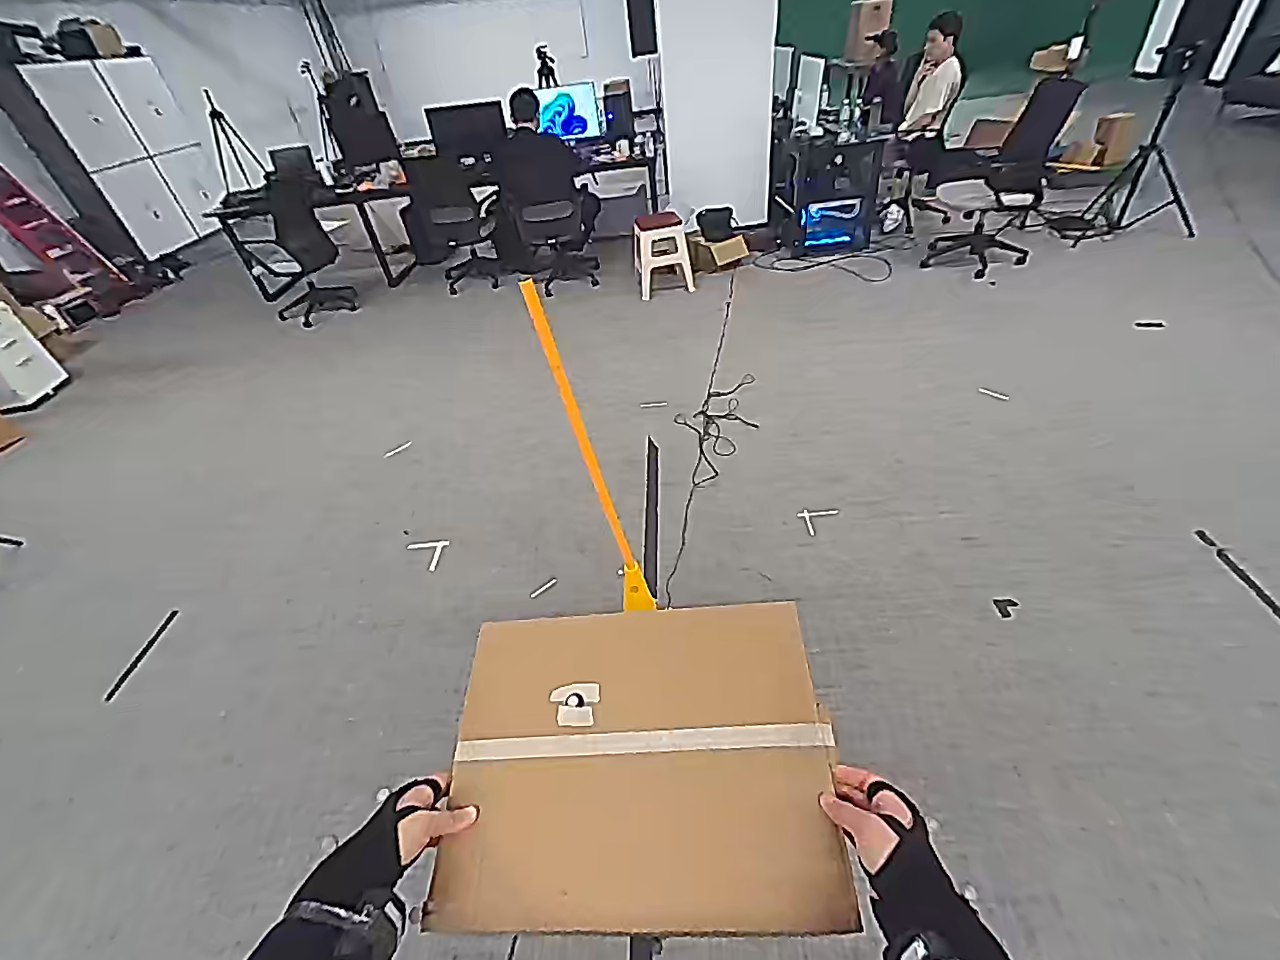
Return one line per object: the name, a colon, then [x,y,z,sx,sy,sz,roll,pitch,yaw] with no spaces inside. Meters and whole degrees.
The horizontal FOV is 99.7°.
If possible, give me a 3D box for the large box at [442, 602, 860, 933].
large box: [0.027,0.387,0.707,0.408,0.320,0.320,-7,48,8]
